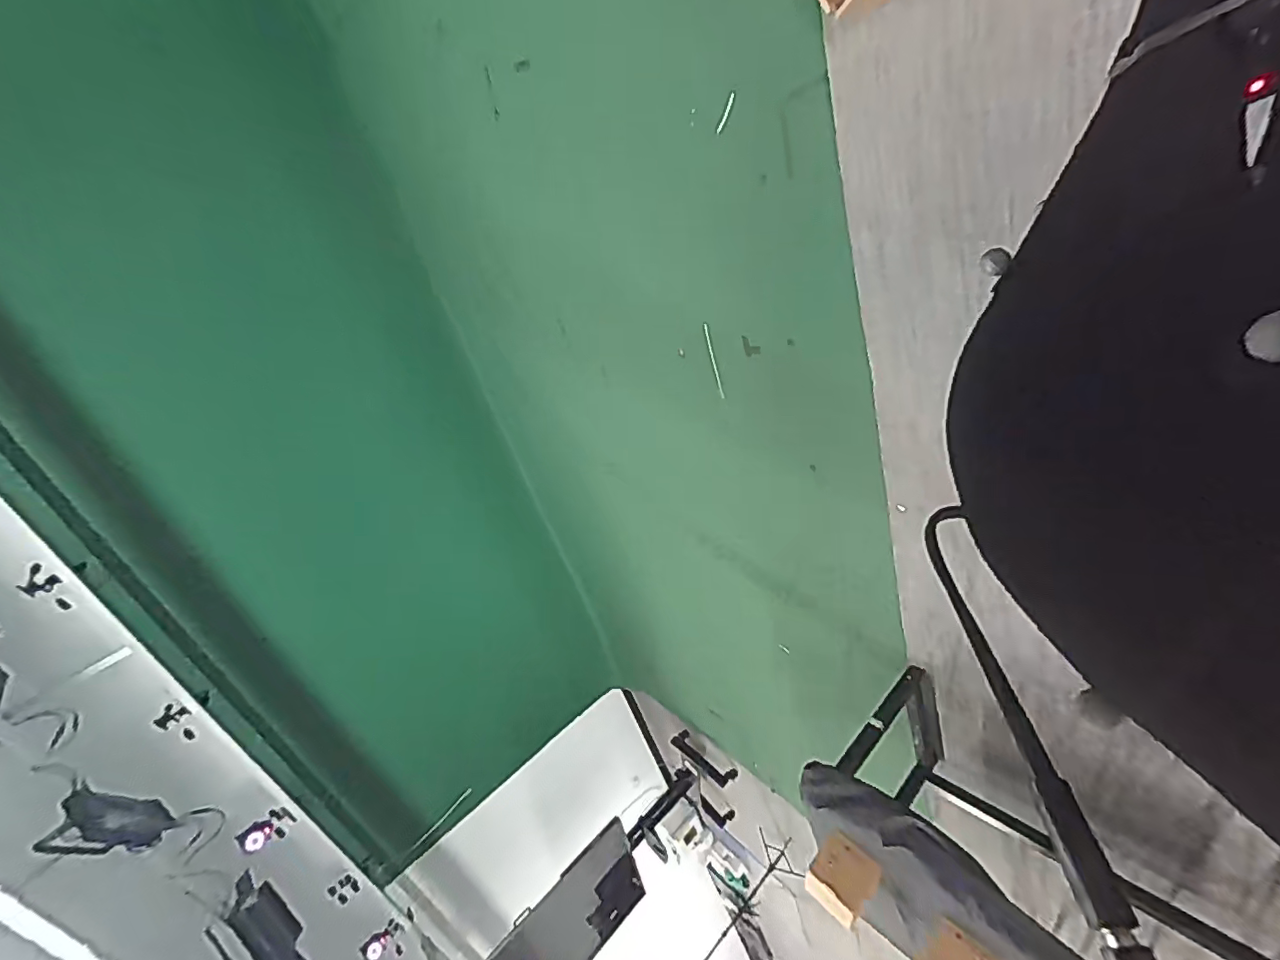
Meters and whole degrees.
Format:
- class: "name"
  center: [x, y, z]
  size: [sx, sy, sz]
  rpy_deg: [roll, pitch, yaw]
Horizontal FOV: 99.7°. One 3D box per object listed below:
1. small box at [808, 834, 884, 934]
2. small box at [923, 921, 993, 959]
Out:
- class: "small box"
  center: [0.658, 1.282, 1.728]
  size: [0.168, 0.176, 0.179]
  rpy_deg: [28, 143, 42]
- class: "small box"
  center: [0.878, 1.368, 1.473]
  size: [0.168, 0.176, 0.179]
  rpy_deg: [16, 134, 50]
